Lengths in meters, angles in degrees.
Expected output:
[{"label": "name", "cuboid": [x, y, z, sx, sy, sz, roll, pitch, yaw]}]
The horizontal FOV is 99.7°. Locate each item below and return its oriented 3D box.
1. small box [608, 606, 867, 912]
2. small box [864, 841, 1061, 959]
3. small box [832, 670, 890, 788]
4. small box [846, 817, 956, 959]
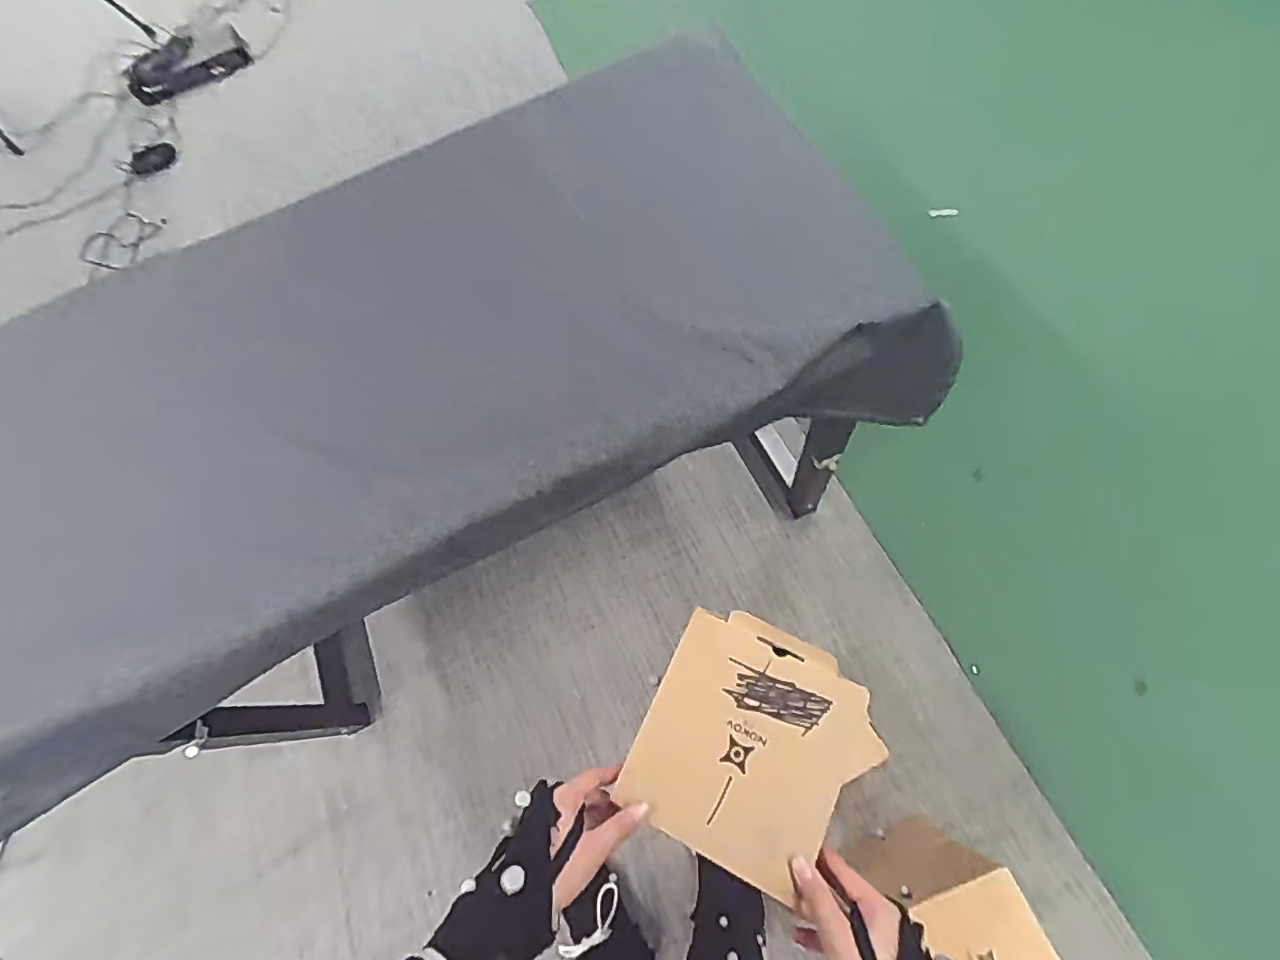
[{"label": "small box", "cuboid": [0.085, 0.245, 0.515, 0.168, 0.176, 0.179, 24, 72, 12]}, {"label": "small box", "cuboid": [0.446, 0.639, 0.753, 0.179, 0.176, 0.168, -23, 67, -2]}, {"label": "small box", "cuboid": [0.325, 0.476, 1.017, 0.179, 0.176, 0.168, -29, 66, -3]}, {"label": "small box", "cuboid": [0.465, 0.699, 0.904, 0.179, 0.176, 0.168, -25, 67, -1]}]
